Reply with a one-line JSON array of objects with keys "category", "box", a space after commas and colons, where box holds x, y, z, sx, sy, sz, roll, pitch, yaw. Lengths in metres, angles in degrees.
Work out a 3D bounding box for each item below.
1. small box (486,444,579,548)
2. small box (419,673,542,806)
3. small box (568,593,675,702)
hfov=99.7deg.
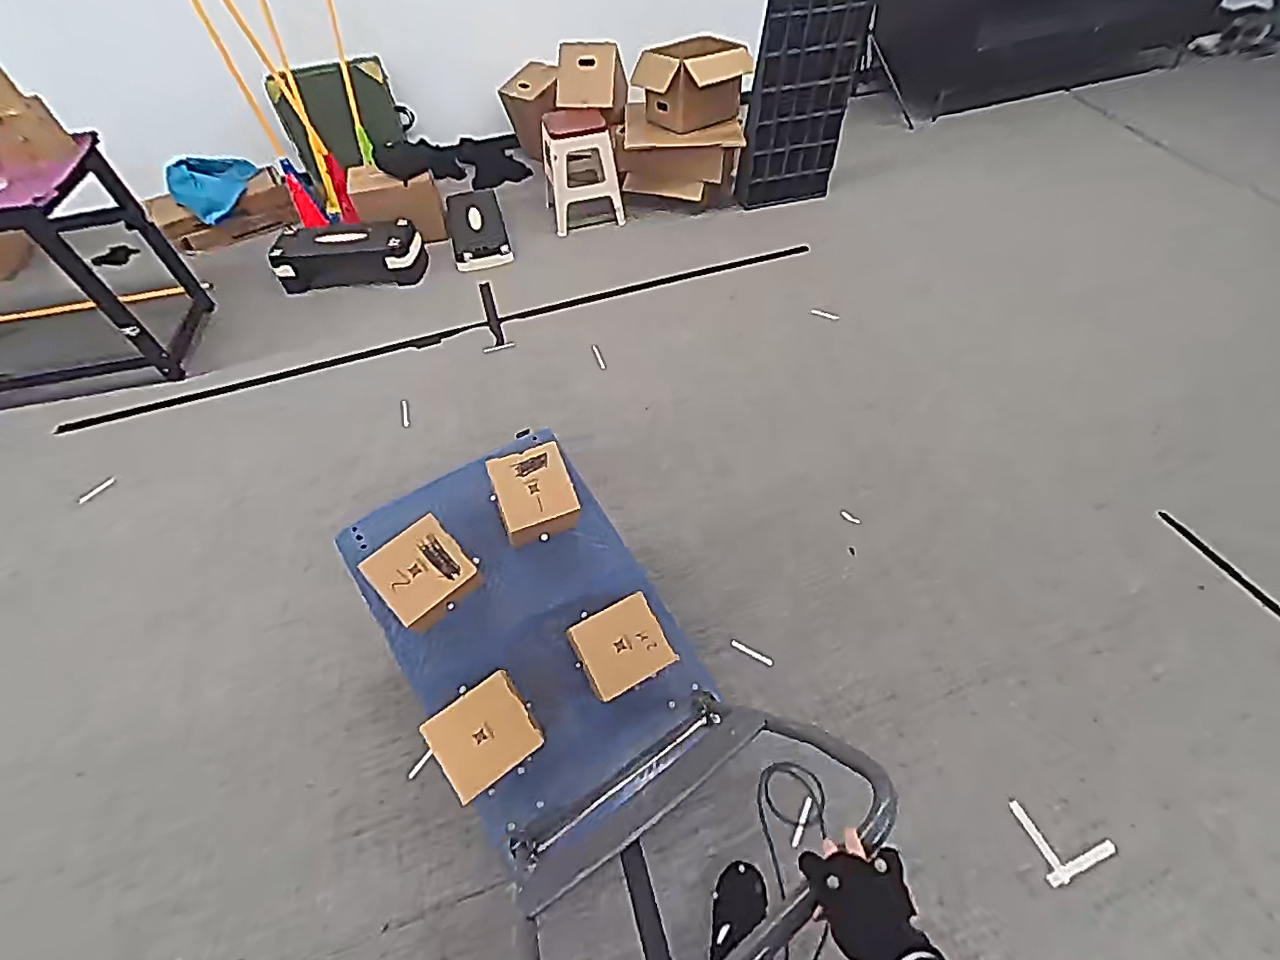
[{"category": "small box", "box": [-0.257, 0.043, 1.279, 0.168, 0.176, 0.179, -19, 76, -17]}, {"category": "small box", "box": [-0.314, 0.517, 1.097, 0.179, 0.176, 0.168, -33, 80, -21]}, {"category": "small box", "box": [-0.050, 0.373, 1.200, 0.179, 0.176, 0.168, -25, 77, -18]}]
